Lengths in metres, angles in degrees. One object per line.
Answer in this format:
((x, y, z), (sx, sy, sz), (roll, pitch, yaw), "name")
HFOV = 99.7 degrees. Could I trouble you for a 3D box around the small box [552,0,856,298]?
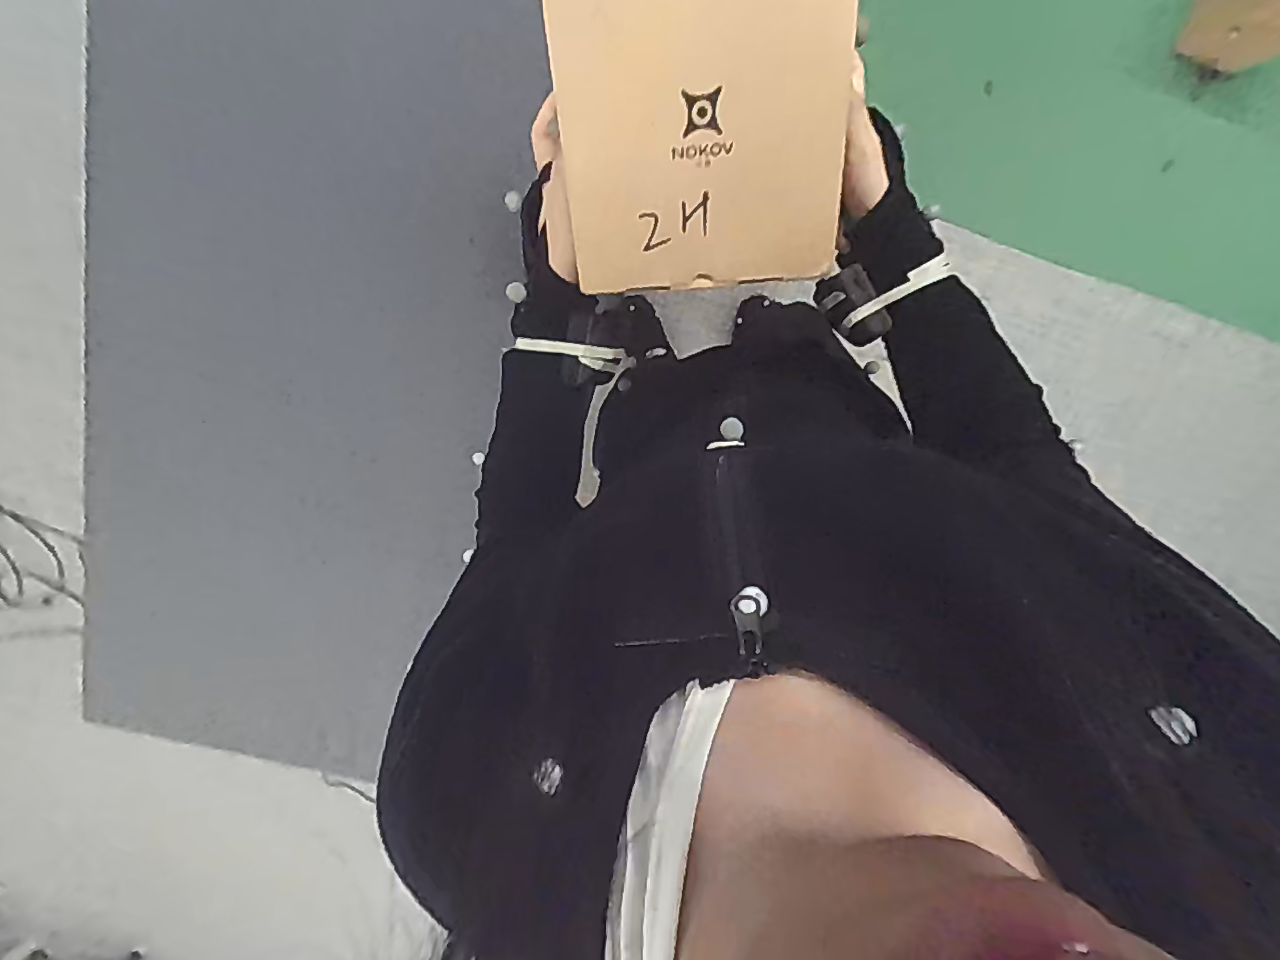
((0.044, -0.239, 0.390), (0.168, 0.176, 0.179), (-1, 120, 7), "small box")
